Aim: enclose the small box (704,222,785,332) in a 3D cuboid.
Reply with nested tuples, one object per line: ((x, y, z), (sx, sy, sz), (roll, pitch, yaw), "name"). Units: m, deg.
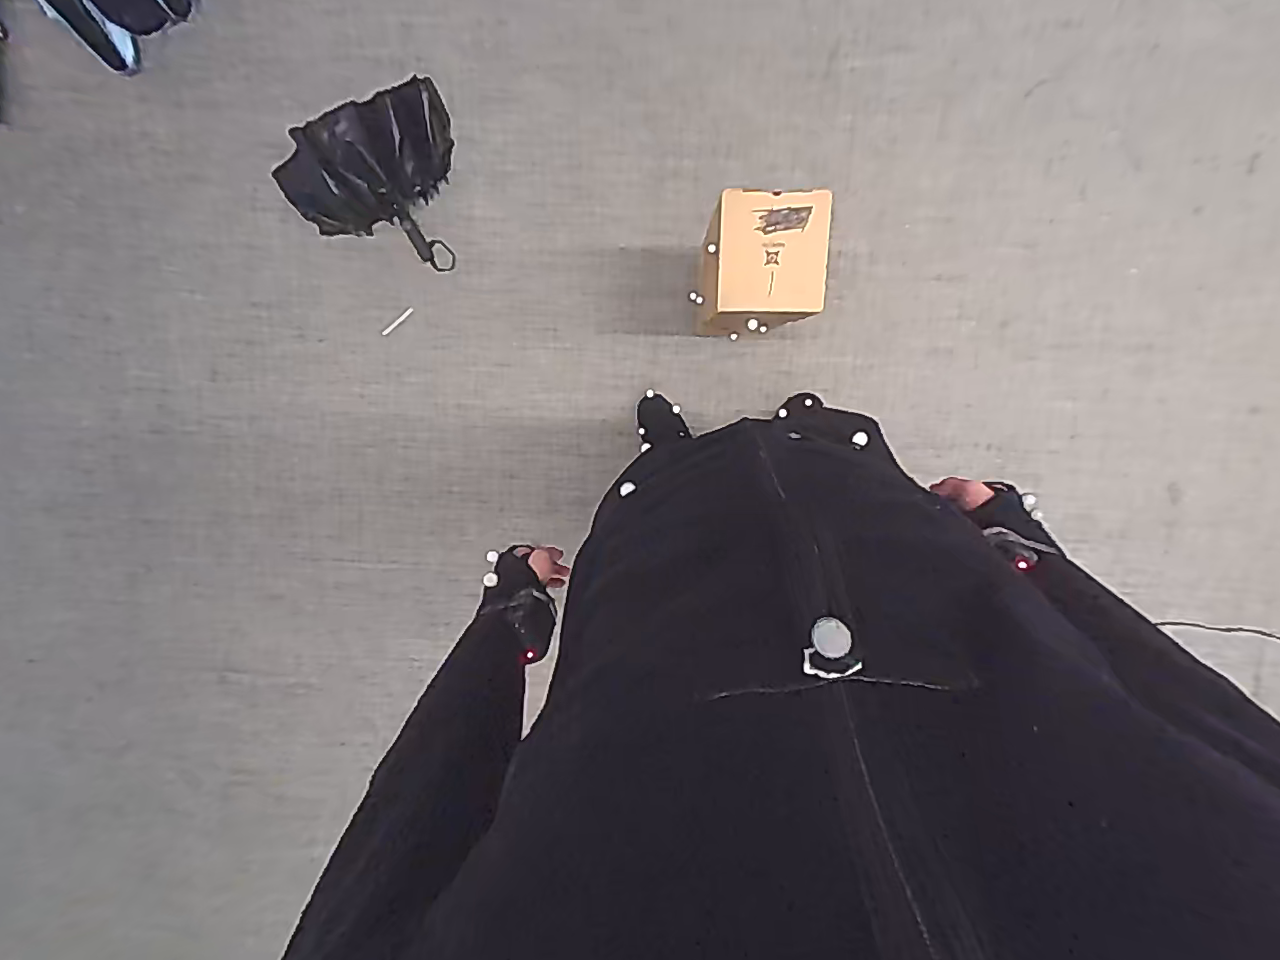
((0.214, -0.385, 1.052), (0.168, 0.176, 0.179), (1, 98, 2), "small box")

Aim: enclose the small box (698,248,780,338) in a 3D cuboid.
((0.221, -0.412, 1.212), (0.168, 0.176, 0.179), (0, 100, 2), "small box")

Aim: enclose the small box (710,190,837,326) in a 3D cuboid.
((0.209, -0.355, 0.891), (0.168, 0.176, 0.179), (2, 102, 2), "small box")
